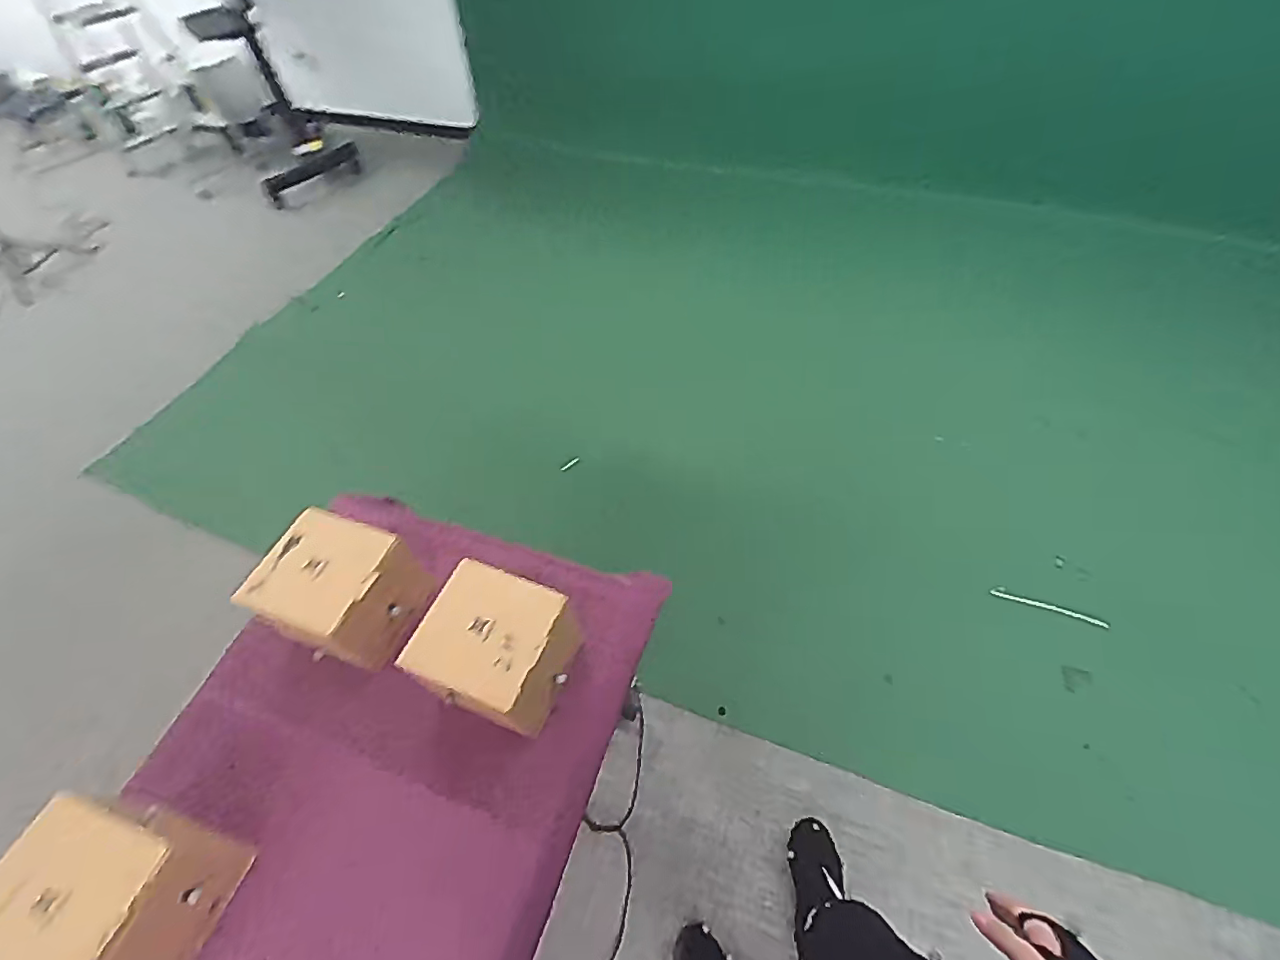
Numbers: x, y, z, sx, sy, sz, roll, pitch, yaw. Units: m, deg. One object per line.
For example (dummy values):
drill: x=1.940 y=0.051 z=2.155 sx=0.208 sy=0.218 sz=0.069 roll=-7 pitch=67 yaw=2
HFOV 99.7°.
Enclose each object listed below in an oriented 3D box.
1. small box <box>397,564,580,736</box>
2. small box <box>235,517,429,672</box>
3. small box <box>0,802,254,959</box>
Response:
small box: x=-0.208 y=0.254 z=0.795 sx=0.179 sy=0.176 sz=0.168 roll=16 pitch=58 yaw=15
small box: x=-0.472 y=0.188 z=0.863 sx=0.179 sy=0.176 sz=0.168 roll=15 pitch=56 yaw=13
small box: x=-0.617 y=0.507 z=0.638 sx=0.179 sy=0.176 sz=0.168 roll=13 pitch=55 yaw=13
